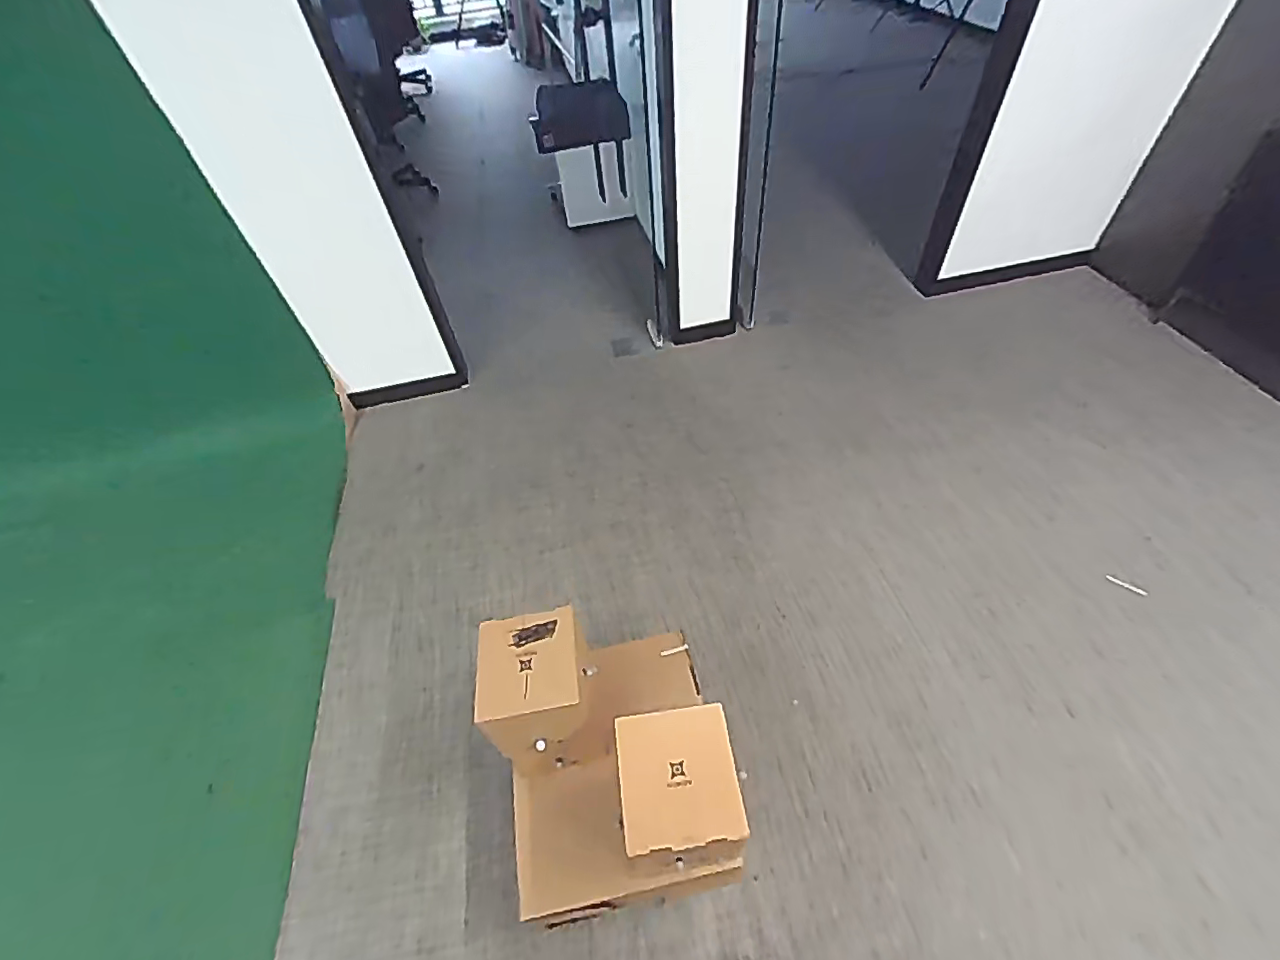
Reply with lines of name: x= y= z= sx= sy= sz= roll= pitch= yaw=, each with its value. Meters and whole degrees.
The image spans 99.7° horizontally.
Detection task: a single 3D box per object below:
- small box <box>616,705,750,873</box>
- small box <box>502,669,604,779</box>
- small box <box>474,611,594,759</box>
small box: x=0.058 y=0.468 z=0.819 sx=0.168 sy=0.176 sz=0.179 roll=-8 pitch=48 yaw=-2
small box: x=-0.173 y=0.462 z=1.073 sx=0.168 sy=0.176 sz=0.179 roll=-12 pitch=46 yaw=-3
small box: x=-0.178 y=0.358 z=0.944 sx=0.168 sy=0.176 sz=0.179 roll=-10 pitch=47 yaw=-2
